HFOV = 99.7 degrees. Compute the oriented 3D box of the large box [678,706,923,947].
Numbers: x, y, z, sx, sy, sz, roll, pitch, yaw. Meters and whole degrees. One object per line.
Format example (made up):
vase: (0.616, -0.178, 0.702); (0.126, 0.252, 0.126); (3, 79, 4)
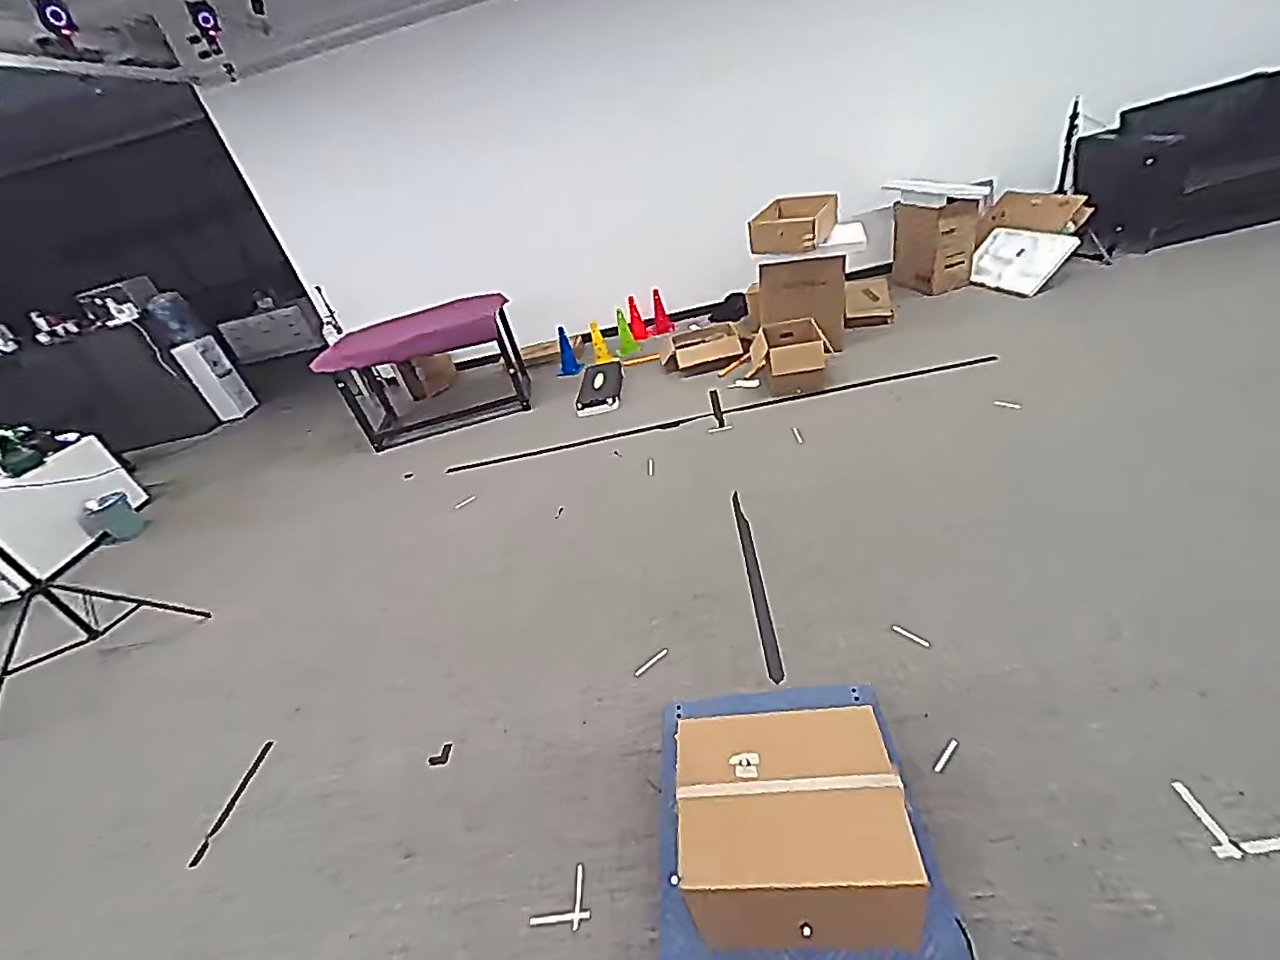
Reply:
large box: (0.308, 0.707, 1.104); (0.408, 0.320, 0.320); (-10, 32, 10)
